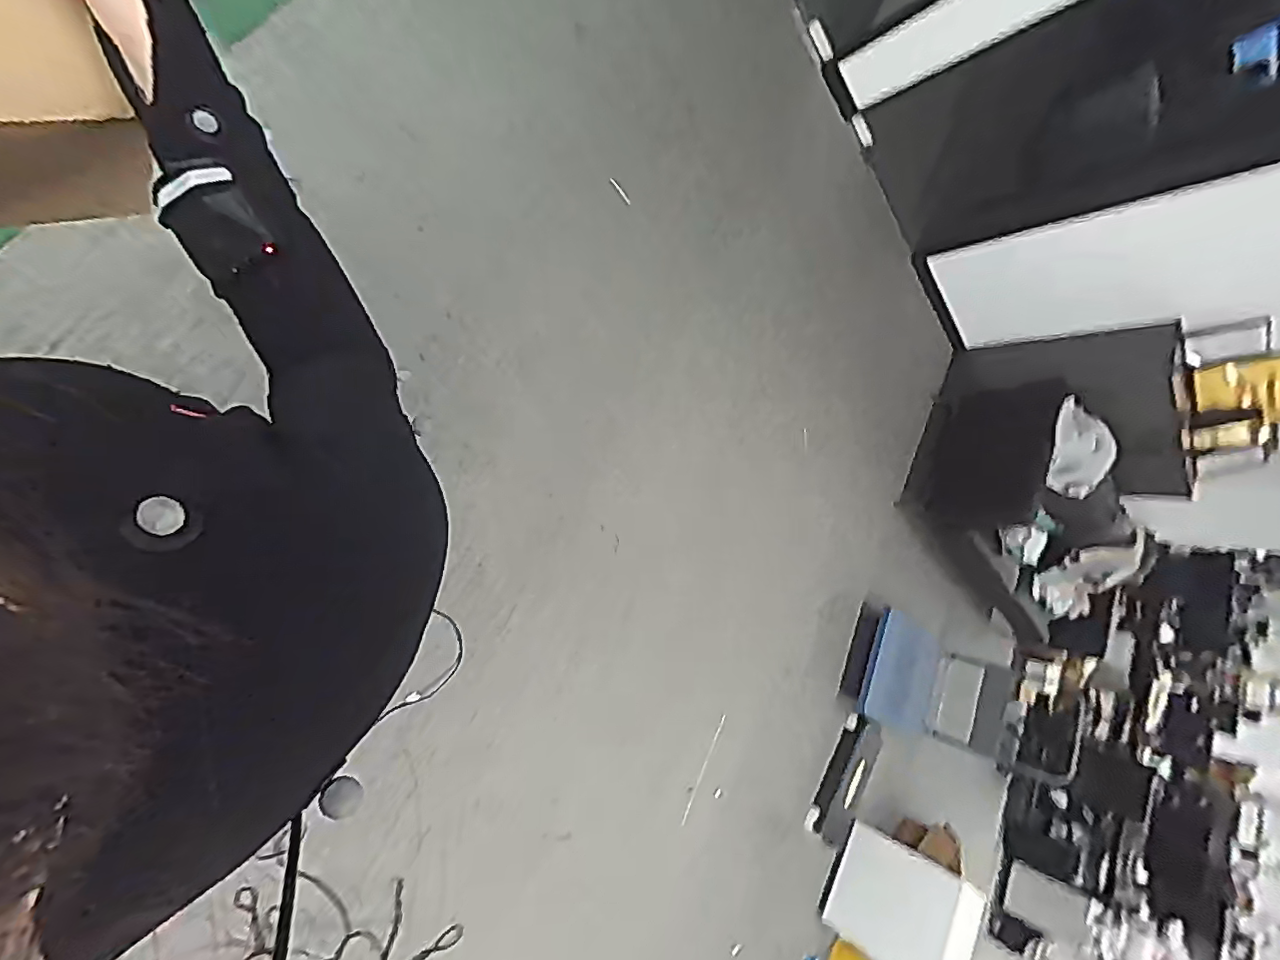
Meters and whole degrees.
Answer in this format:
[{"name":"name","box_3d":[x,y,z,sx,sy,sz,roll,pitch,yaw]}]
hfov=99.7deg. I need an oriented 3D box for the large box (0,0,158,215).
[{"name":"large box","box_3d":[-0.616,-0.341,0.328,0.408,0.320,0.320,-28,116,-33]}]
